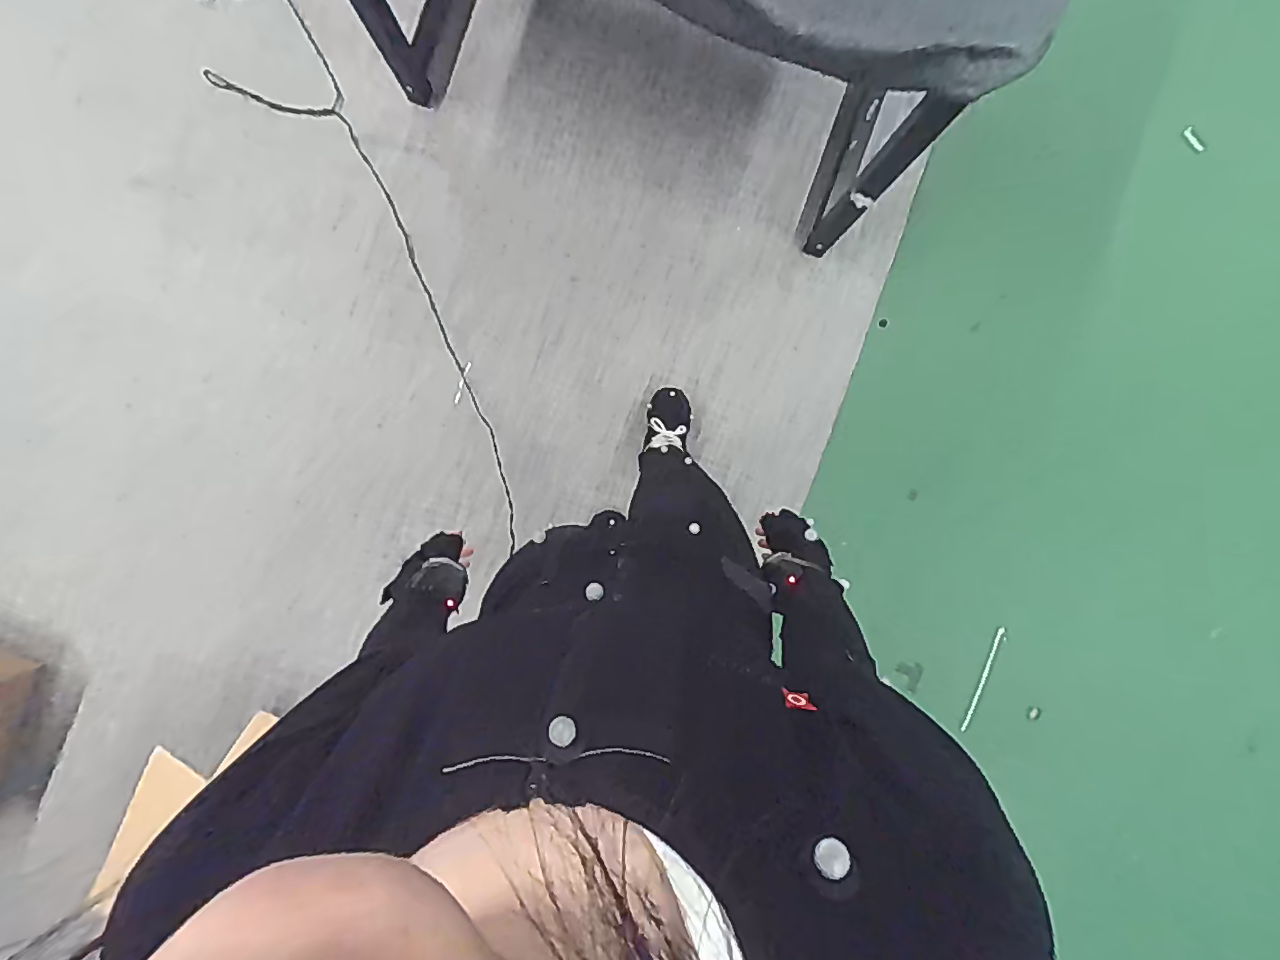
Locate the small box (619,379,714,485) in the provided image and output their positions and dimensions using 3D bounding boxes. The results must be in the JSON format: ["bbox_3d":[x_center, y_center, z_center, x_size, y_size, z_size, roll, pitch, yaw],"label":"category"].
[{"bbox_3d":[0.060,-0.121,1.391,0.179,0.176,0.168,-35,68,-23],"label":"small box"}]
